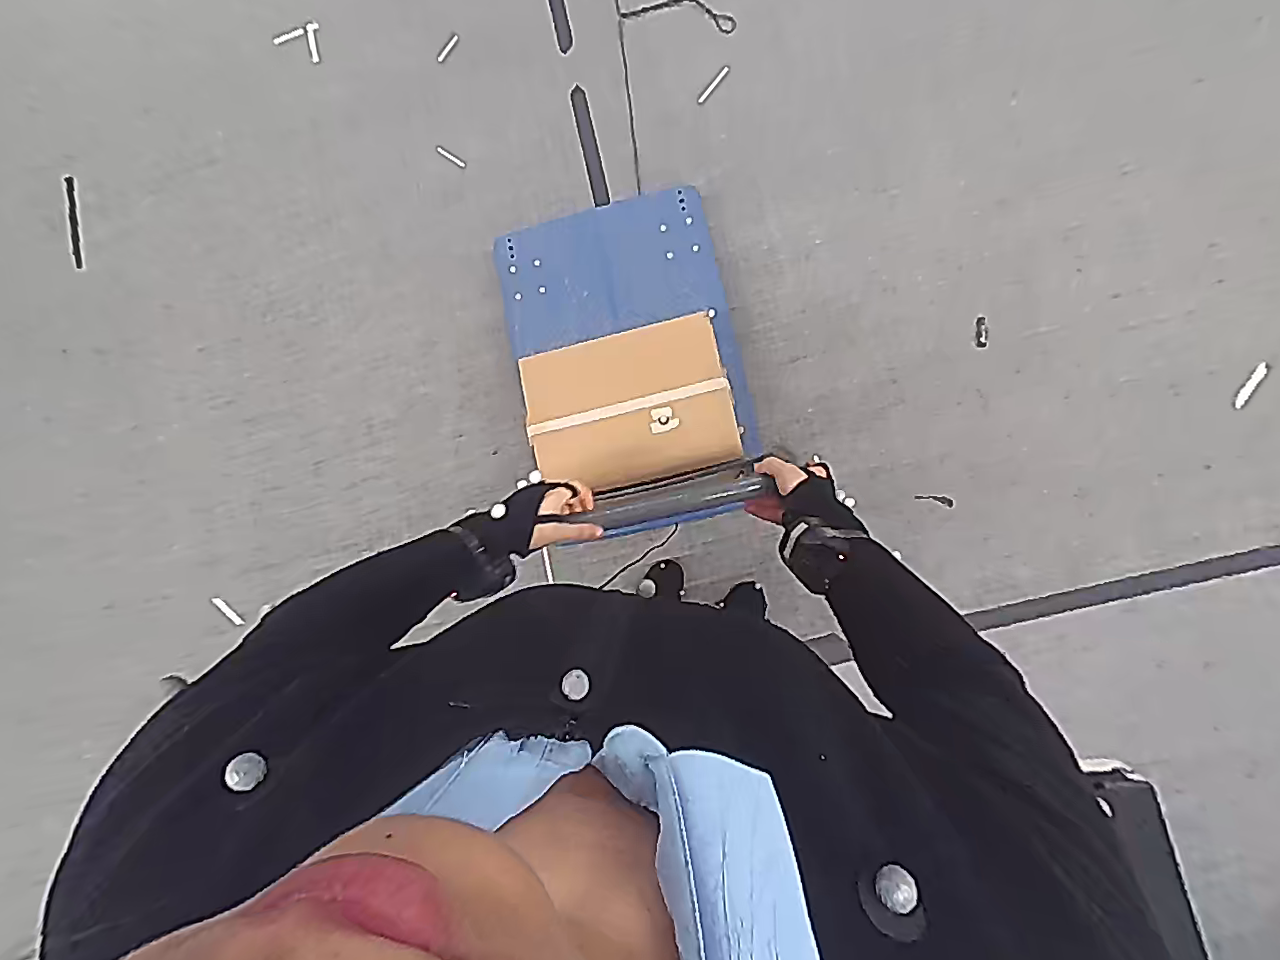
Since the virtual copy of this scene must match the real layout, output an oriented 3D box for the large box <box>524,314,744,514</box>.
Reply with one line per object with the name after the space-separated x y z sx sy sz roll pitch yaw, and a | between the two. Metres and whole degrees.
-0.004 -0.124 1.235 0.408 0.320 0.320 -13 82 5 | large box
